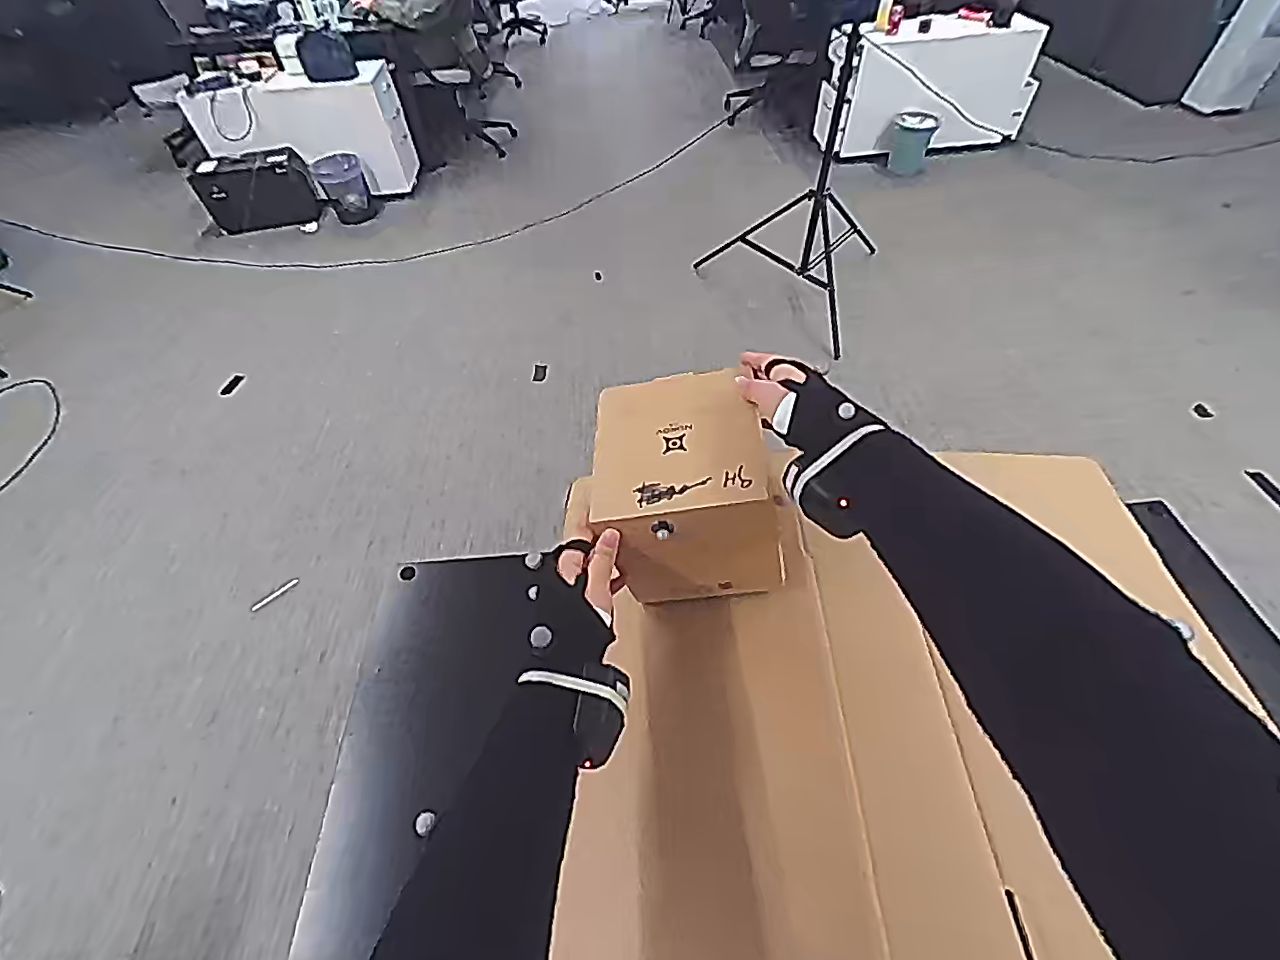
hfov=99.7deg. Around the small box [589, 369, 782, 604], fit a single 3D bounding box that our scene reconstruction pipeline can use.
[{"bbox_3d":[0.056,0.012,0.580,0.168,0.176,0.179,-9,50,13],"label":"small box"}]
